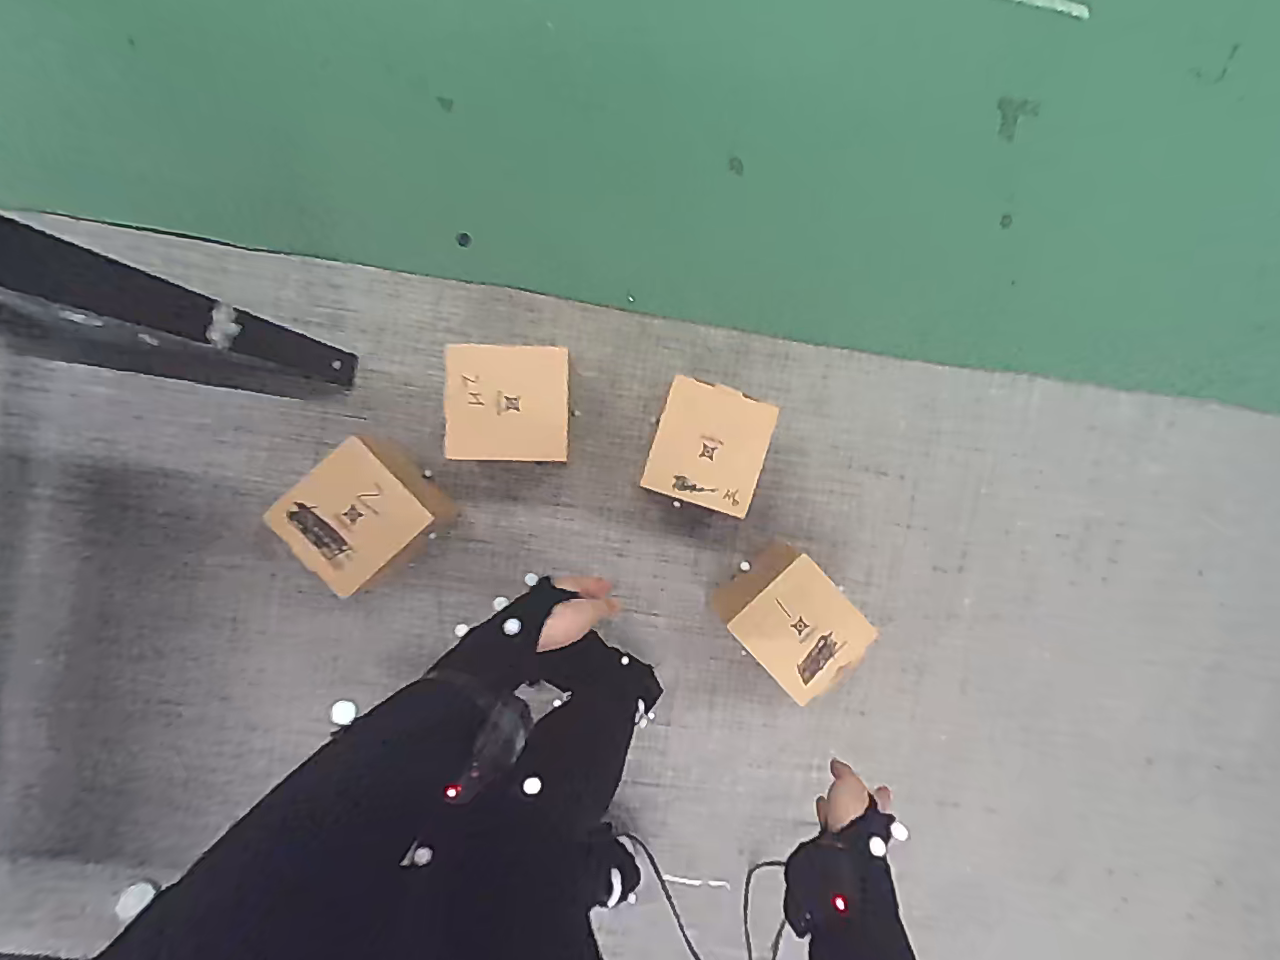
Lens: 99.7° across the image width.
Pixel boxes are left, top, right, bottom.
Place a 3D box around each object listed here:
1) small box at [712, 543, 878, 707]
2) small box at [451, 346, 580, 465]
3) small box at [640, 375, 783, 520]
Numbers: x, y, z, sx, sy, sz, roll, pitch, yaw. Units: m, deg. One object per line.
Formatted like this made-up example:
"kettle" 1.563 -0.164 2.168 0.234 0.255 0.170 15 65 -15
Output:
"small box" 0.243 0.225 0.892 0.168 0.176 0.179 -43 93 -1
"small box" -0.186 -0.110 0.853 0.179 0.176 0.168 1 92 -3
"small box" 0.104 -0.050 0.872 0.168 0.176 0.179 18 91 -5
